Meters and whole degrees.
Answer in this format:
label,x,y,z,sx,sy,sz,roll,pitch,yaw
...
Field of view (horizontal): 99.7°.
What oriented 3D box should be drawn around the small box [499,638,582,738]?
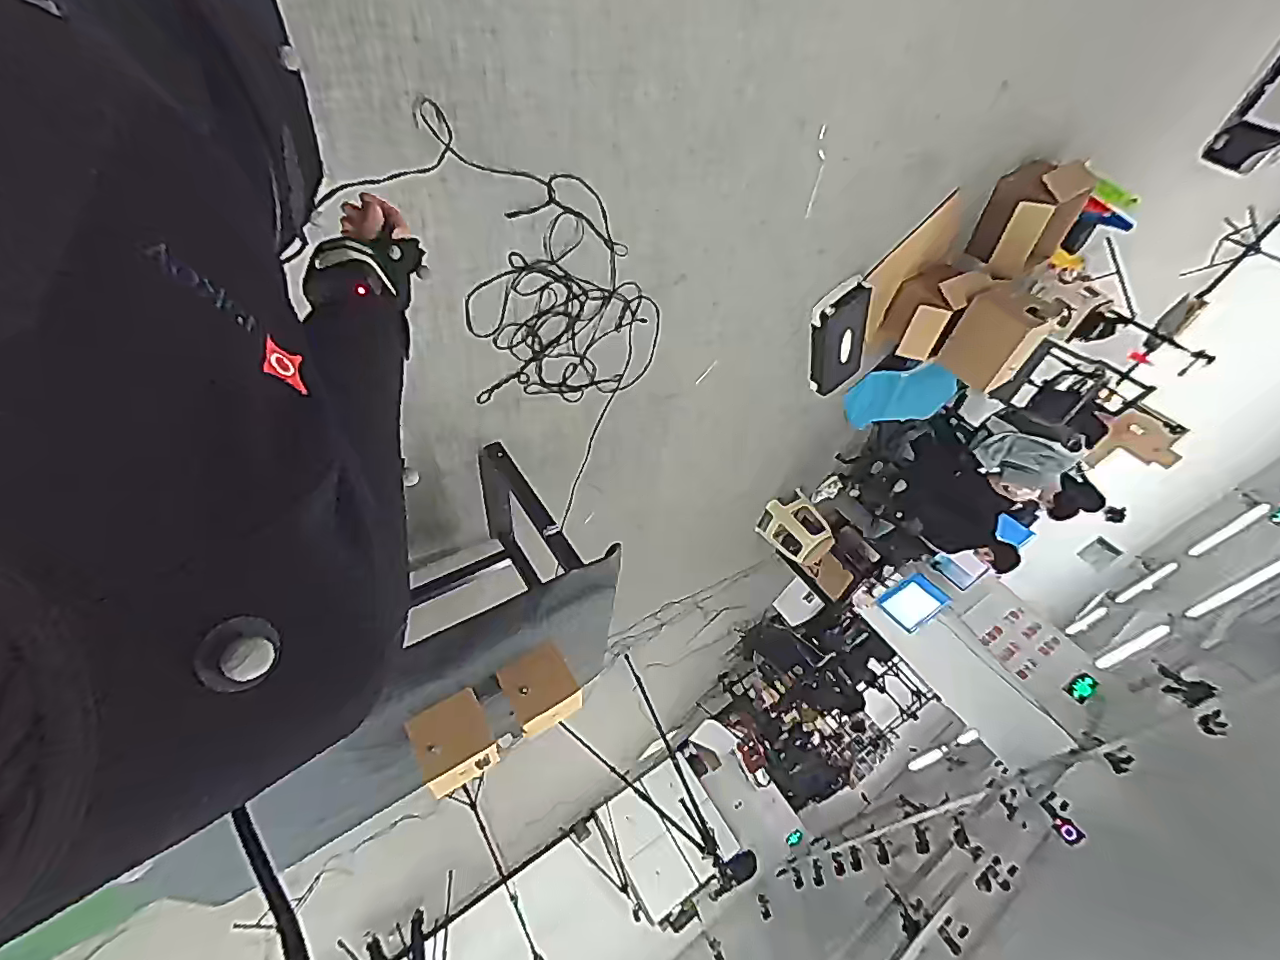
label,x,y,z,sx,sy,sz,roll,pitch,yaw
small box,-0.279,0.576,1.504,0.179,0.176,0.168,-27,149,-24
